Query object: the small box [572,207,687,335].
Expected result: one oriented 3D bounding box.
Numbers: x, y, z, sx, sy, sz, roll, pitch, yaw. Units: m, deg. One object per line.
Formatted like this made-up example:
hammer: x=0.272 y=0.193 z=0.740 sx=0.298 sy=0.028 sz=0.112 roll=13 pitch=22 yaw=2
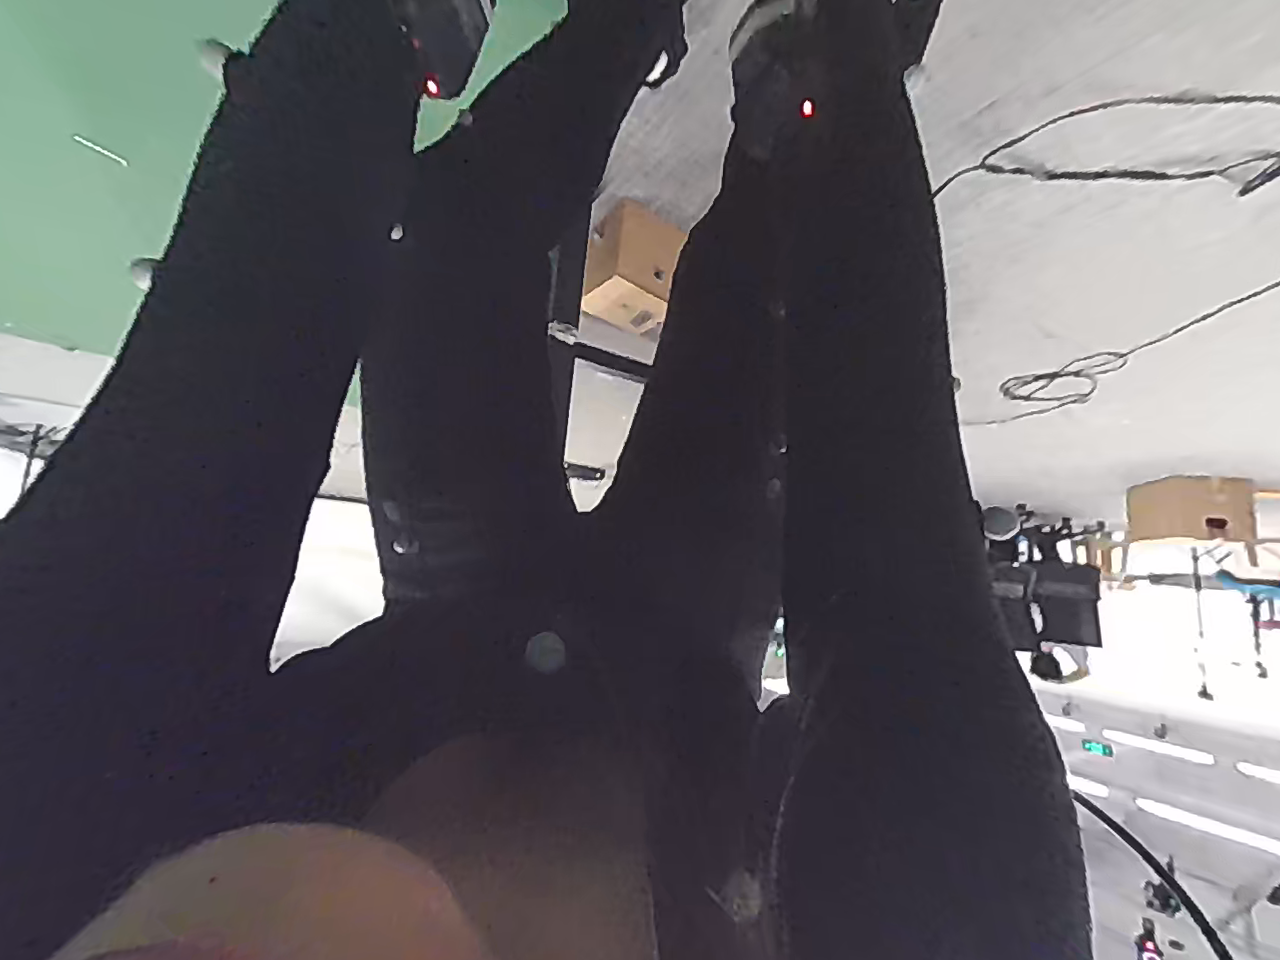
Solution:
small box: x=-0.018 y=-0.429 z=1.125 sx=0.179 sy=0.176 sz=0.168 roll=13 pitch=168 yaw=-36
